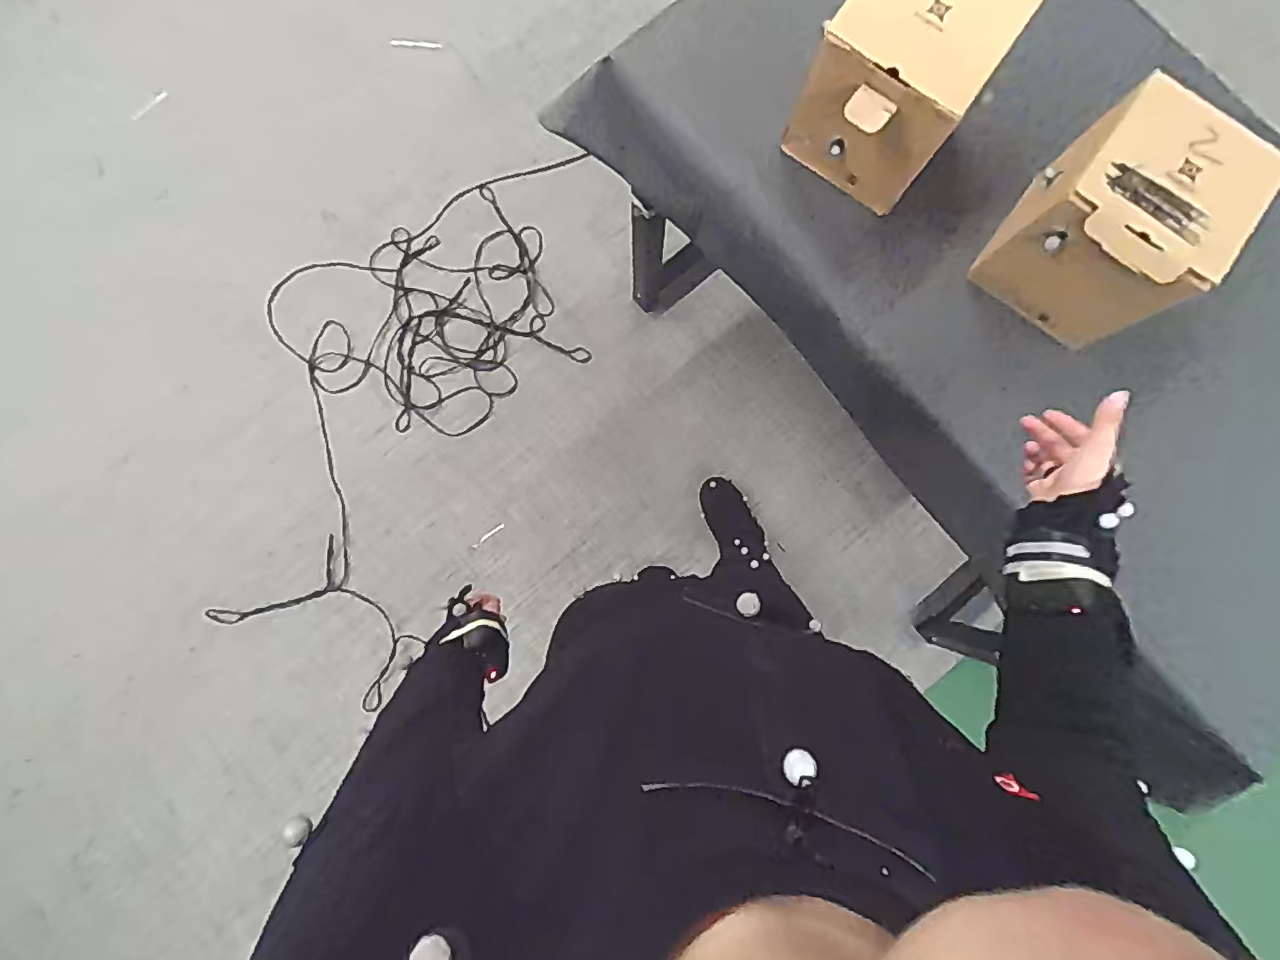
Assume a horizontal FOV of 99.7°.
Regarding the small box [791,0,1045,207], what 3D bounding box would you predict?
[{"bbox_3d":[0.302,-0.468,0.627,0.168,0.176,0.179,35,85,3],"label":"small box"}]
